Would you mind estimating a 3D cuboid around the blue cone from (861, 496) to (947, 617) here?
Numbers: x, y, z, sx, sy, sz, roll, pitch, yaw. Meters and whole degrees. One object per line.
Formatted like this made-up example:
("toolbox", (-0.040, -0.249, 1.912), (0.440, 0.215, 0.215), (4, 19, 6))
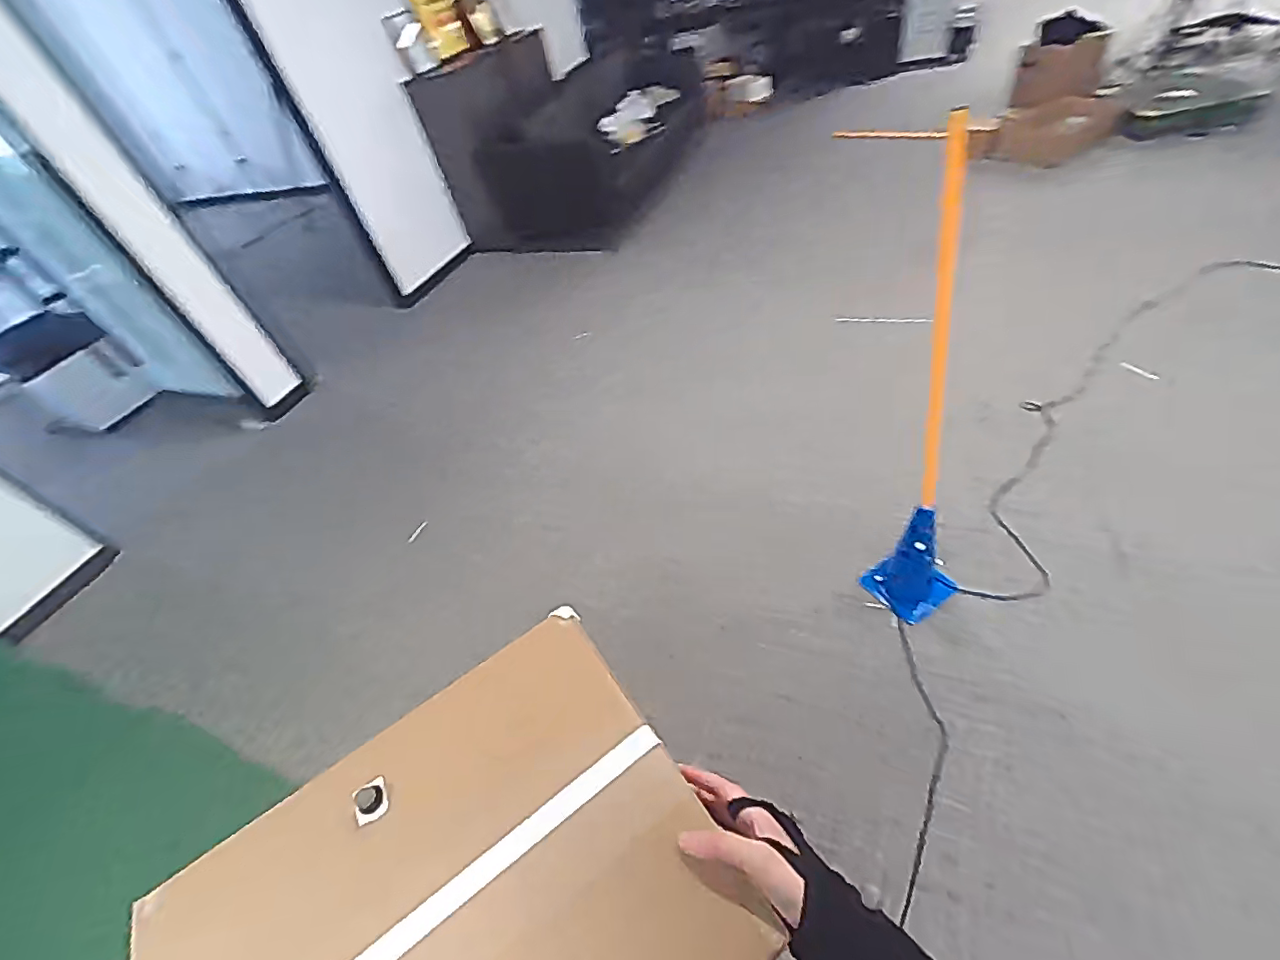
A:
("blue cone", (0.735, 0.186, 1.463), (0.193, 0.380, 0.192), (-34, 46, -16))
